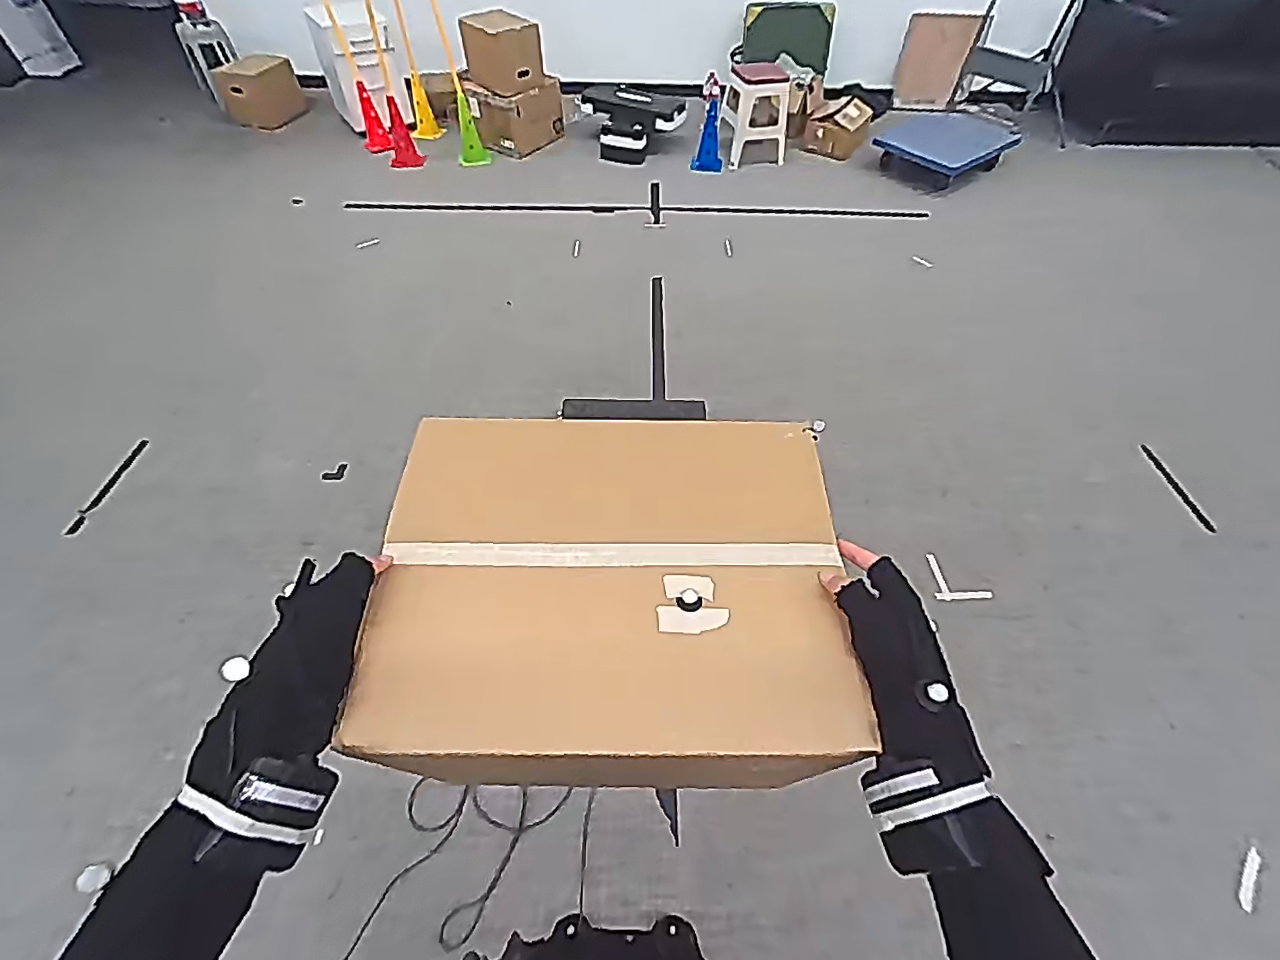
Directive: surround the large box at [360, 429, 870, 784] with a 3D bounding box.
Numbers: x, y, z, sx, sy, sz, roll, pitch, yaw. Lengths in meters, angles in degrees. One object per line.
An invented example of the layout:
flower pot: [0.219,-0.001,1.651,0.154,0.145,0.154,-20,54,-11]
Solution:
large box: [-0.022,0.156,0.620,0.408,0.320,0.320,1,57,-1]
